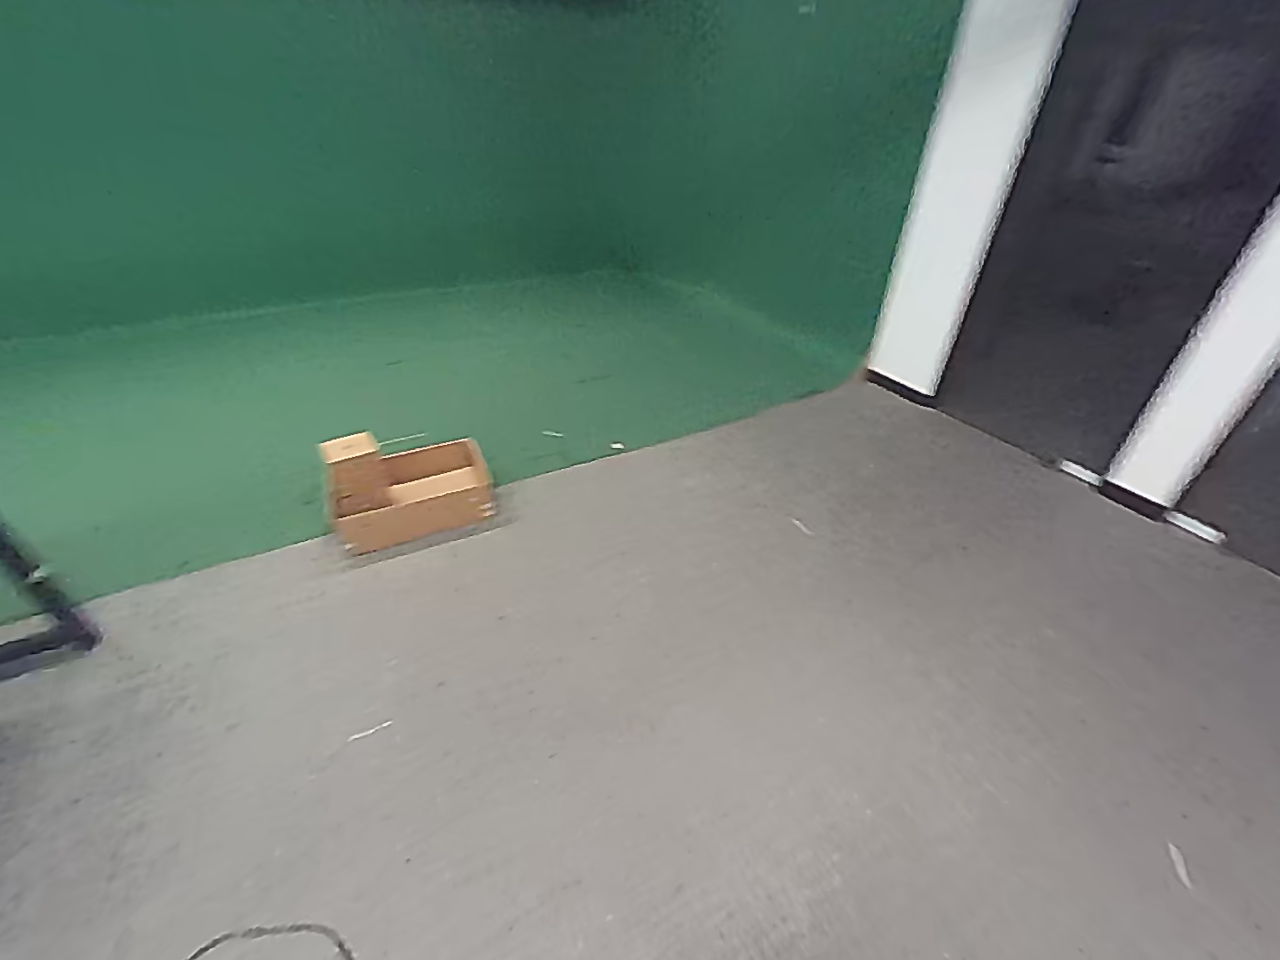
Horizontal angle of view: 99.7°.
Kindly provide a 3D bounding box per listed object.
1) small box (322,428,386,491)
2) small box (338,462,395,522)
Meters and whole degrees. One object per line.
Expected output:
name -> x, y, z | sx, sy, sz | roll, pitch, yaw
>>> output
small box -> -1.138, -0.080, 2.155 | 0.179, 0.176, 0.168 | -20, 43, -30
small box -> -1.139, 0.051, 2.253 | 0.179, 0.176, 0.168 | -14, 40, -21
